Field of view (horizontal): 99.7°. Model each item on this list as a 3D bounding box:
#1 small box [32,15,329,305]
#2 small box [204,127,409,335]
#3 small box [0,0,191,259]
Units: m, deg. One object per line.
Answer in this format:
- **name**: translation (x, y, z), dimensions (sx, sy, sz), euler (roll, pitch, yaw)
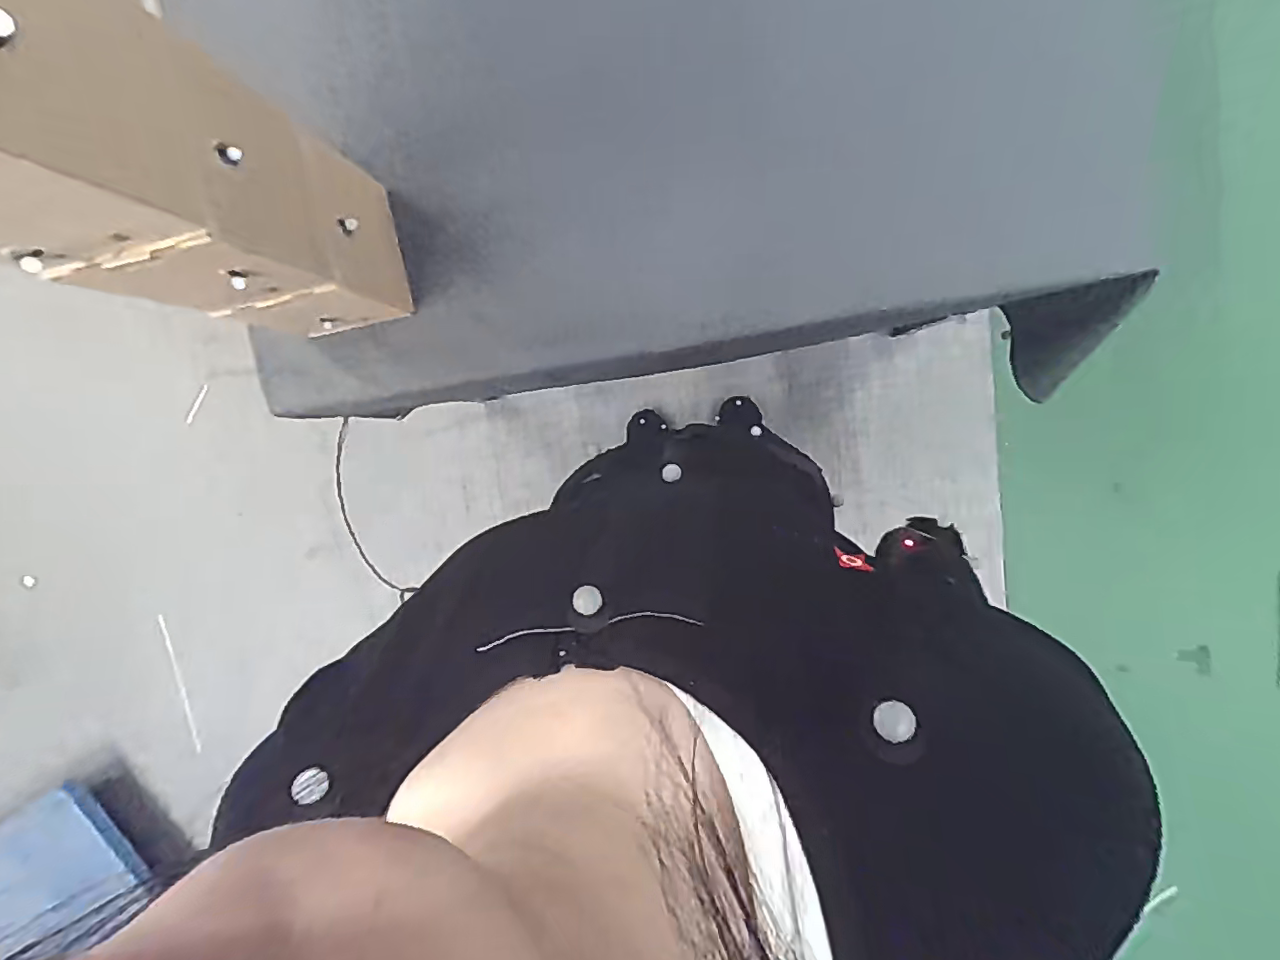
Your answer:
- **small box**: translation (-0.435, -0.275, 0.517), dimensions (0.168, 0.176, 0.179), euler (-9, 97, 6)
- **small box**: translation (-0.422, -0.293, 0.678), dimensions (0.168, 0.176, 0.179), euler (-10, 97, 7)
- **small box**: translation (-0.452, -0.261, 0.355), dimensions (0.168, 0.176, 0.179), euler (-11, 96, 6)
